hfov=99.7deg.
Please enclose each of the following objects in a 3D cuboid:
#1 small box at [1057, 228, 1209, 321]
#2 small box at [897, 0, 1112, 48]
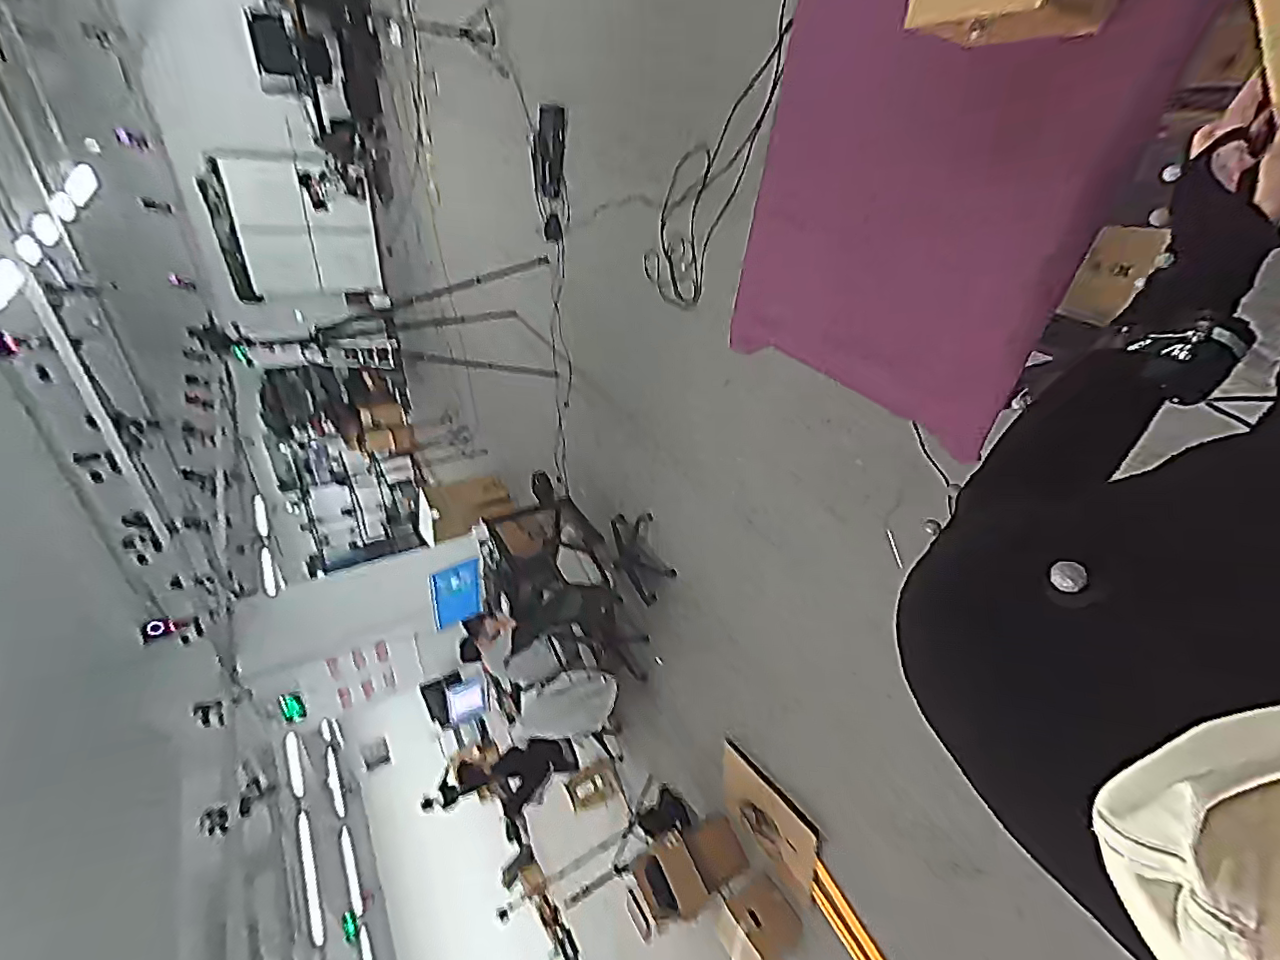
[{"bbox_3d":[1.060,-0.448,1.165,0.179,0.176,0.168,36,133,48],"label":"small box"},{"bbox_3d":[0.454,-0.635,0.642,0.179,0.176,0.168,41,137,45],"label":"small box"}]
